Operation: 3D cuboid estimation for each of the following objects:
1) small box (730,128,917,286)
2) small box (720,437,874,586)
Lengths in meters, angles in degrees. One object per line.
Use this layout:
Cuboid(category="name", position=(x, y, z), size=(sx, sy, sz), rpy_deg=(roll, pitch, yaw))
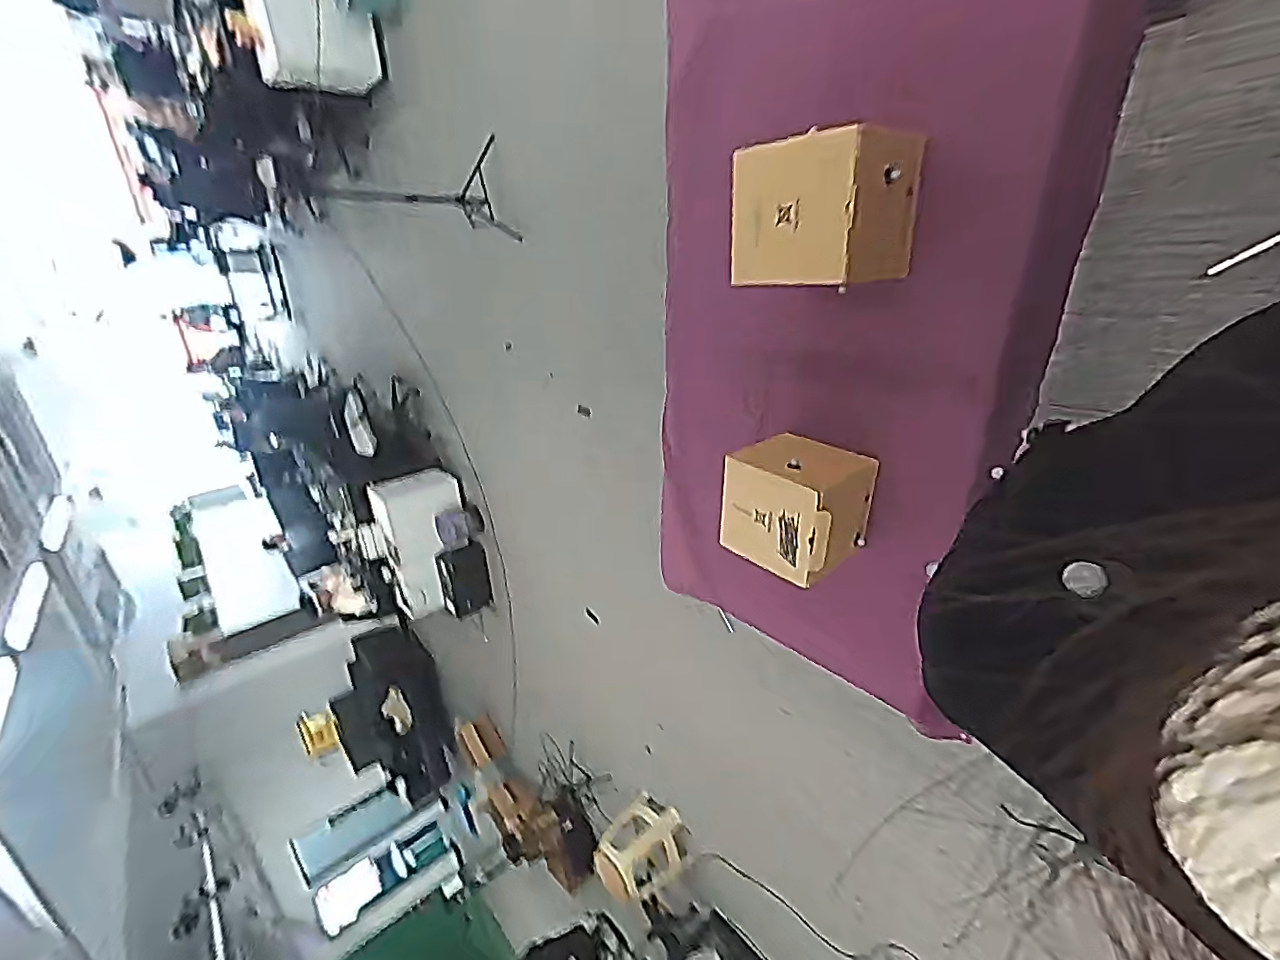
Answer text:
Cuboid(category="small box", position=(0.240, -0.351, 0.720), size=(0.179, 0.176, 0.168), rpy_deg=(21, 122, 45))
Cuboid(category="small box", position=(0.254, 0.039, 0.883), size=(0.179, 0.176, 0.168), rpy_deg=(25, 125, 44))
